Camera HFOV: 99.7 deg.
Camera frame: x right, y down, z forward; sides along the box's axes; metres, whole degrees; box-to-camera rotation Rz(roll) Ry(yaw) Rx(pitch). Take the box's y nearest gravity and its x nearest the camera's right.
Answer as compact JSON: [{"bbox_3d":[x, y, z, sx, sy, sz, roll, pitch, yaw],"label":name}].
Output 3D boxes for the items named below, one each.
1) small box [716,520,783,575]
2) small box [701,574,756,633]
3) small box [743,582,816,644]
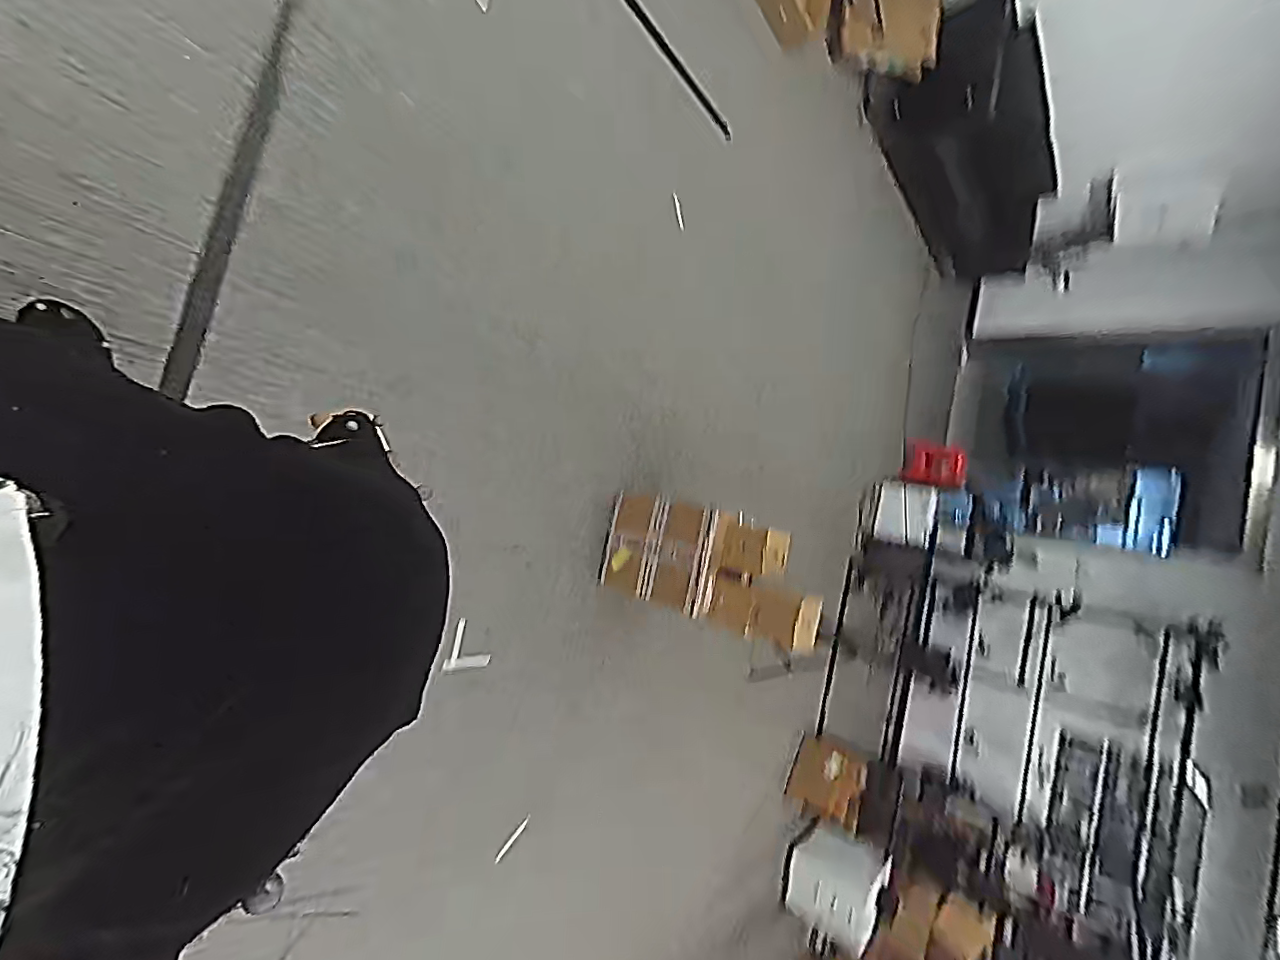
[{"bbox_3d":[0.404,0.248,1.998,0.179,0.176,0.168,21,79,-47],"label":"small box"},{"bbox_3d":[0.352,0.451,1.978,0.179,0.176,0.168,20,83,-47],"label":"small box"},{"bbox_3d":[0.484,0.460,1.878,0.179,0.176,0.168,17,86,-48],"label":"small box"}]
